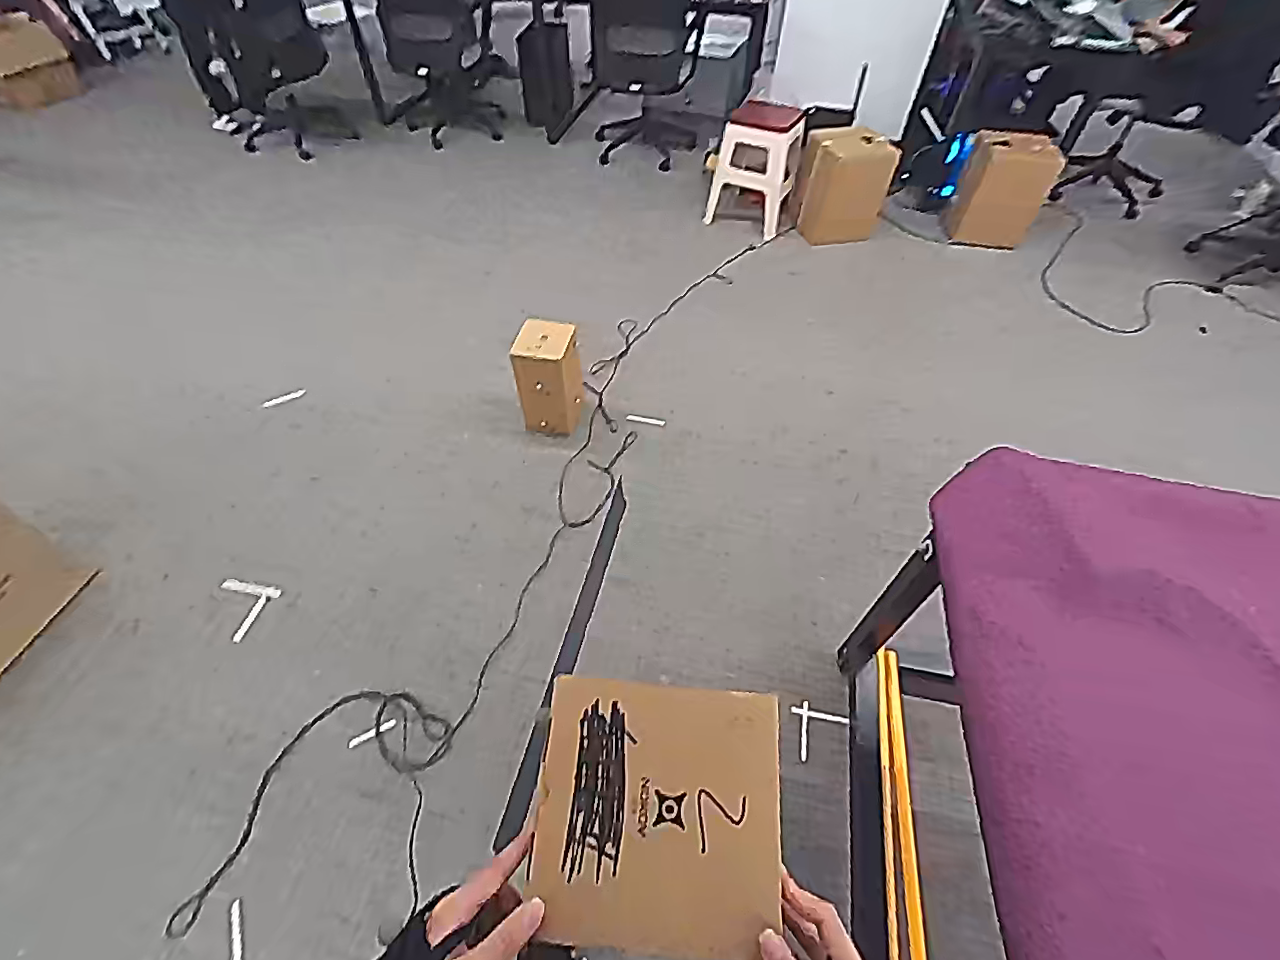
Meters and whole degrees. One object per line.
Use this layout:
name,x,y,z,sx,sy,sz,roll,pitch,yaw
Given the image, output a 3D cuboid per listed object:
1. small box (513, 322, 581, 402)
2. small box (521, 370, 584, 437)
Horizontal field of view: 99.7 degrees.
small box,-0.290,-0.377,1.731,0.168,0.176,0.179,9,52,7
small box,-0.293,-0.275,1.860,0.168,0.176,0.179,10,53,8
